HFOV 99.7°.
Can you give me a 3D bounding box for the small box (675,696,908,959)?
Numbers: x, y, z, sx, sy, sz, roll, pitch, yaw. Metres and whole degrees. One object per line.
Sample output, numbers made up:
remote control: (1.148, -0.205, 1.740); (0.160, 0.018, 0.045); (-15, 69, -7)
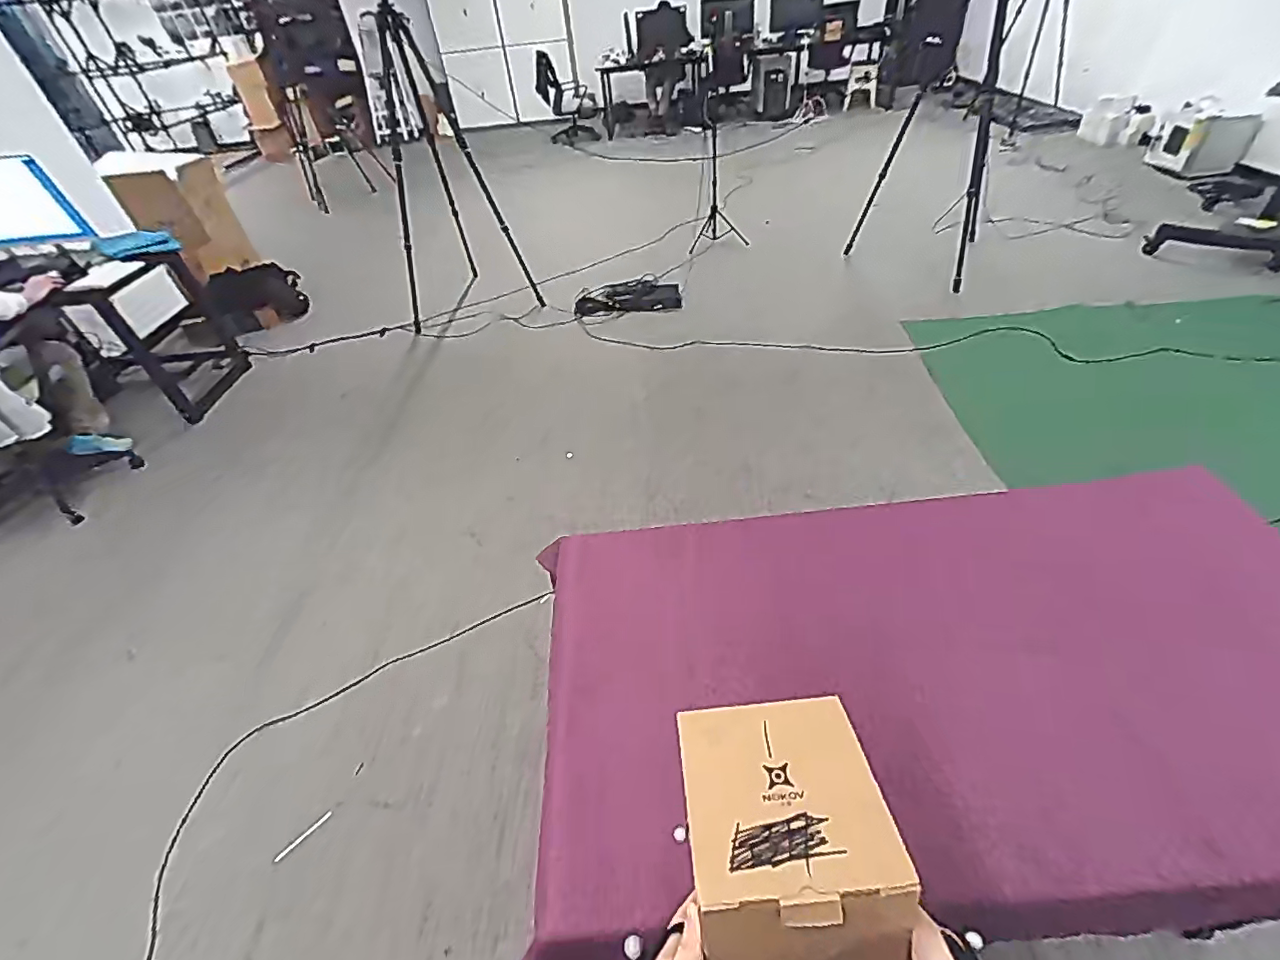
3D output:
small box: (0.128, 0.339, 0.510); (0.168, 0.176, 0.179); (-7, 26, 2)
